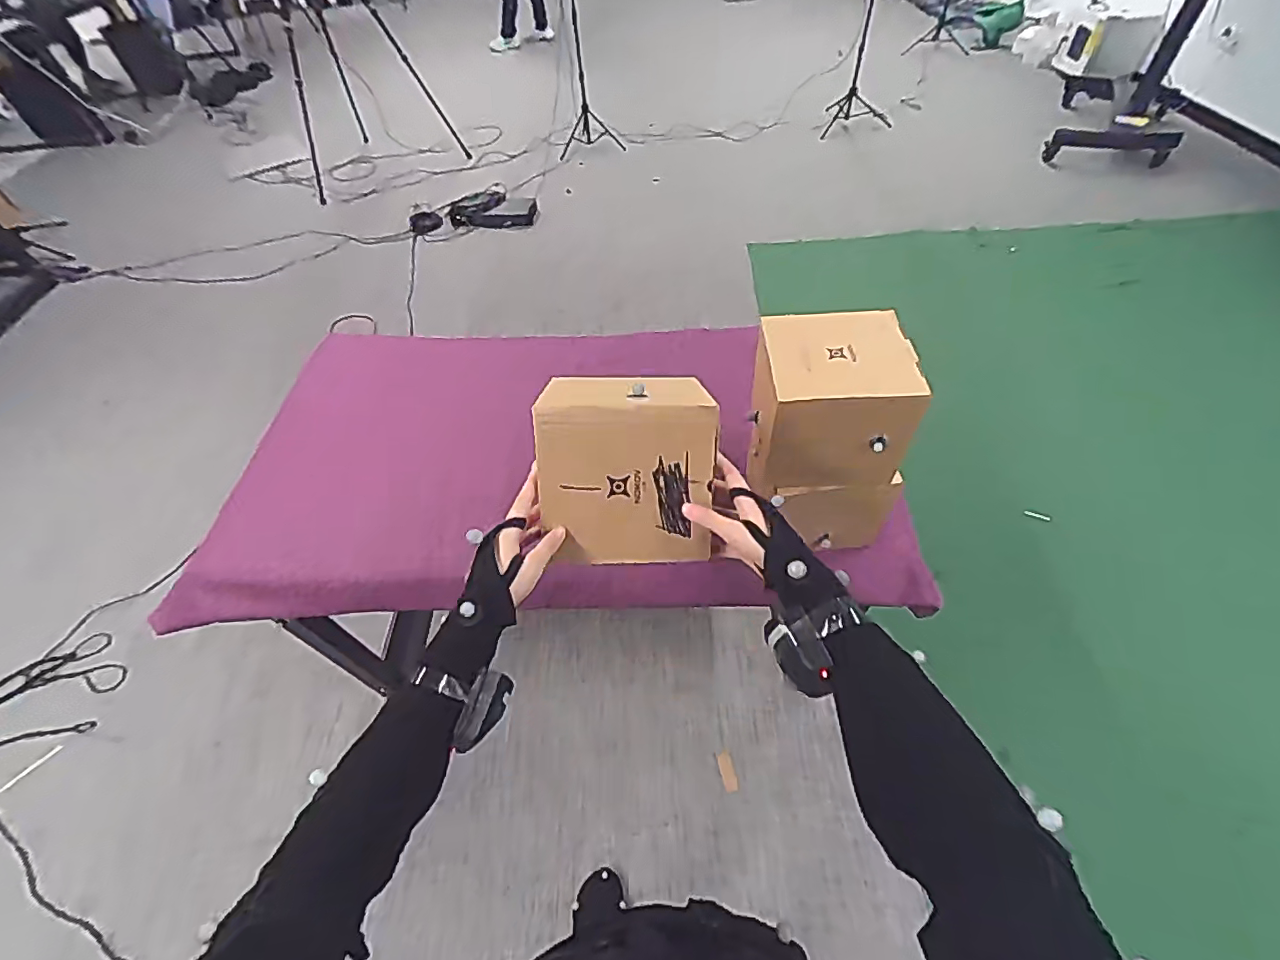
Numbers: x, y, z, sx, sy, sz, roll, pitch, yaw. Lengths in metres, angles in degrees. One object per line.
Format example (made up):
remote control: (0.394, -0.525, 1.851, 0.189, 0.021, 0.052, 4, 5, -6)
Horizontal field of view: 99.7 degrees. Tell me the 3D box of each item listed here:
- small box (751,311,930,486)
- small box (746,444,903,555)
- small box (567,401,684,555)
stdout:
small box: (0.251, -0.105, 0.726, 0.179, 0.176, 0.168, -2, 52, 5)
small box: (0.274, 0.002, 0.849, 0.179, 0.176, 0.168, -6, 51, 0)
small box: (-0.023, -0.002, 0.878, 0.168, 0.176, 0.179, -8, 51, -1)
